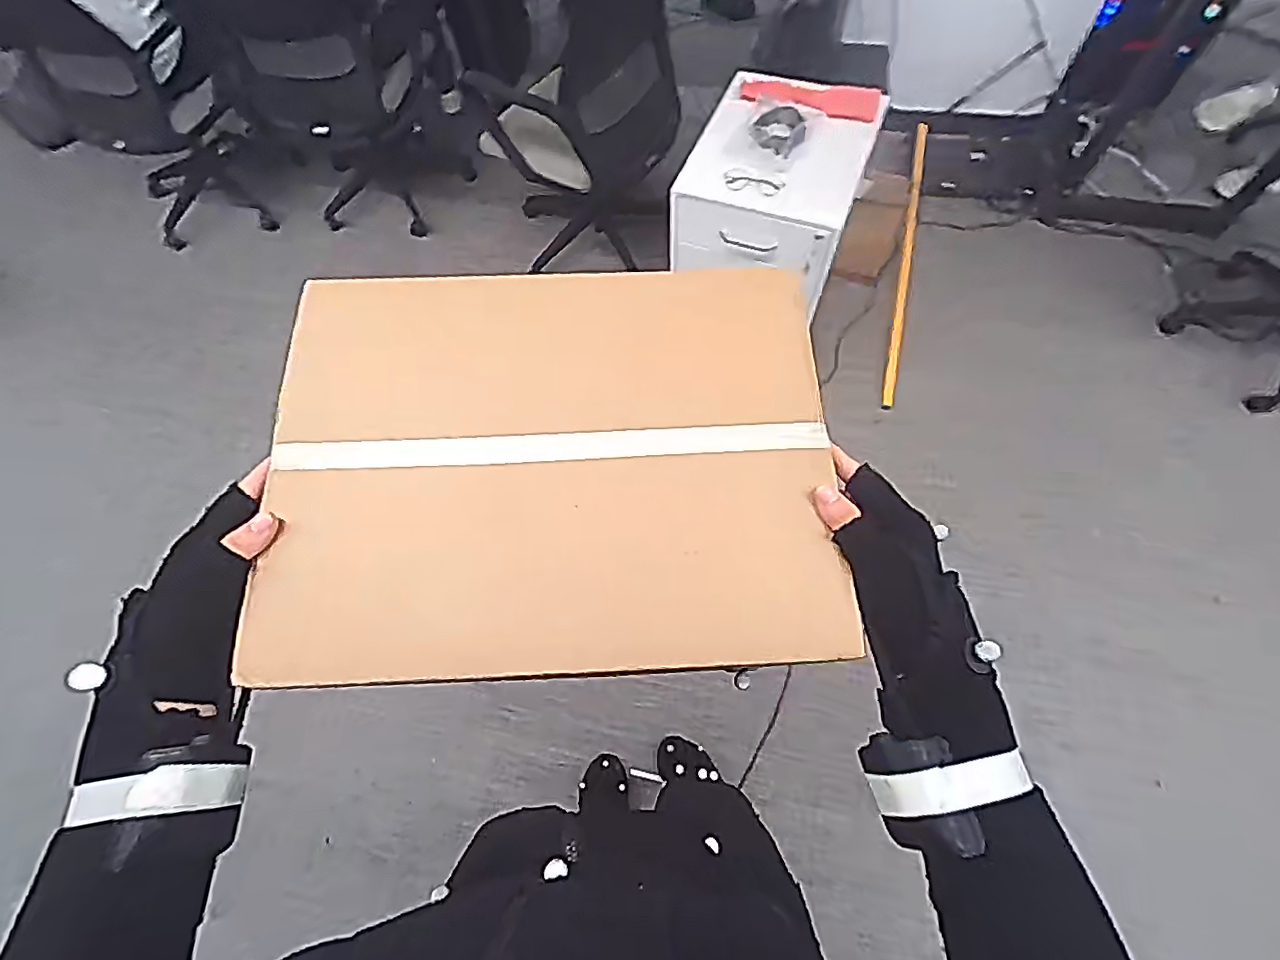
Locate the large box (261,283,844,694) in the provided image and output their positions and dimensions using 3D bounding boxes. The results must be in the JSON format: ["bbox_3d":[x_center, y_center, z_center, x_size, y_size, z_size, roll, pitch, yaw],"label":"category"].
[{"bbox_3d":[-0.066,0.033,0.553,0.408,0.320,0.320,-3,70,-2],"label":"large box"}]
